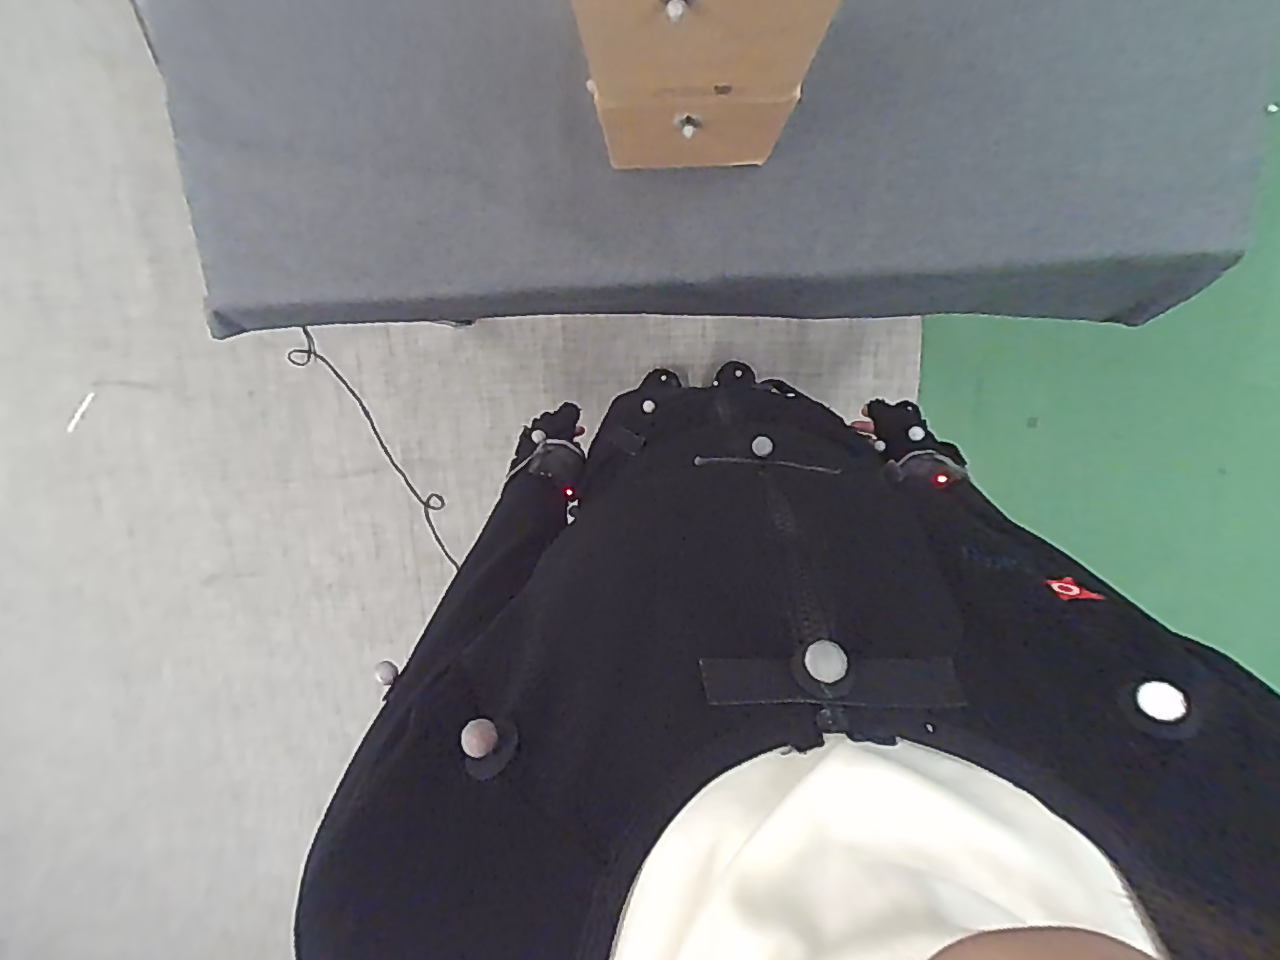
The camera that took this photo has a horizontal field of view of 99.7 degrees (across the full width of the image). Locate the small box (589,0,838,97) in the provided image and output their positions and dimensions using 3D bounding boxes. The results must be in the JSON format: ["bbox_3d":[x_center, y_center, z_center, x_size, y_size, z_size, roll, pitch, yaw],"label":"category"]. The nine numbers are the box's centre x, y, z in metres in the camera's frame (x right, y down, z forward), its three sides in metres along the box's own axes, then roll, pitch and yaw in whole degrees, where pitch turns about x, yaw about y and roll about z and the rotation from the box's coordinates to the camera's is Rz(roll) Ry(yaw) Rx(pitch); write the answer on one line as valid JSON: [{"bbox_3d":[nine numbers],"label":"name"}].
[{"bbox_3d":[0.045,-0.397,0.365,0.168,0.176,0.179,-2,104,2],"label":"small box"}]

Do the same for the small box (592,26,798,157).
[{"bbox_3d":[0.050,-0.430,0.522,0.179,0.176,0.168,0,103,2],"label":"small box"}]
